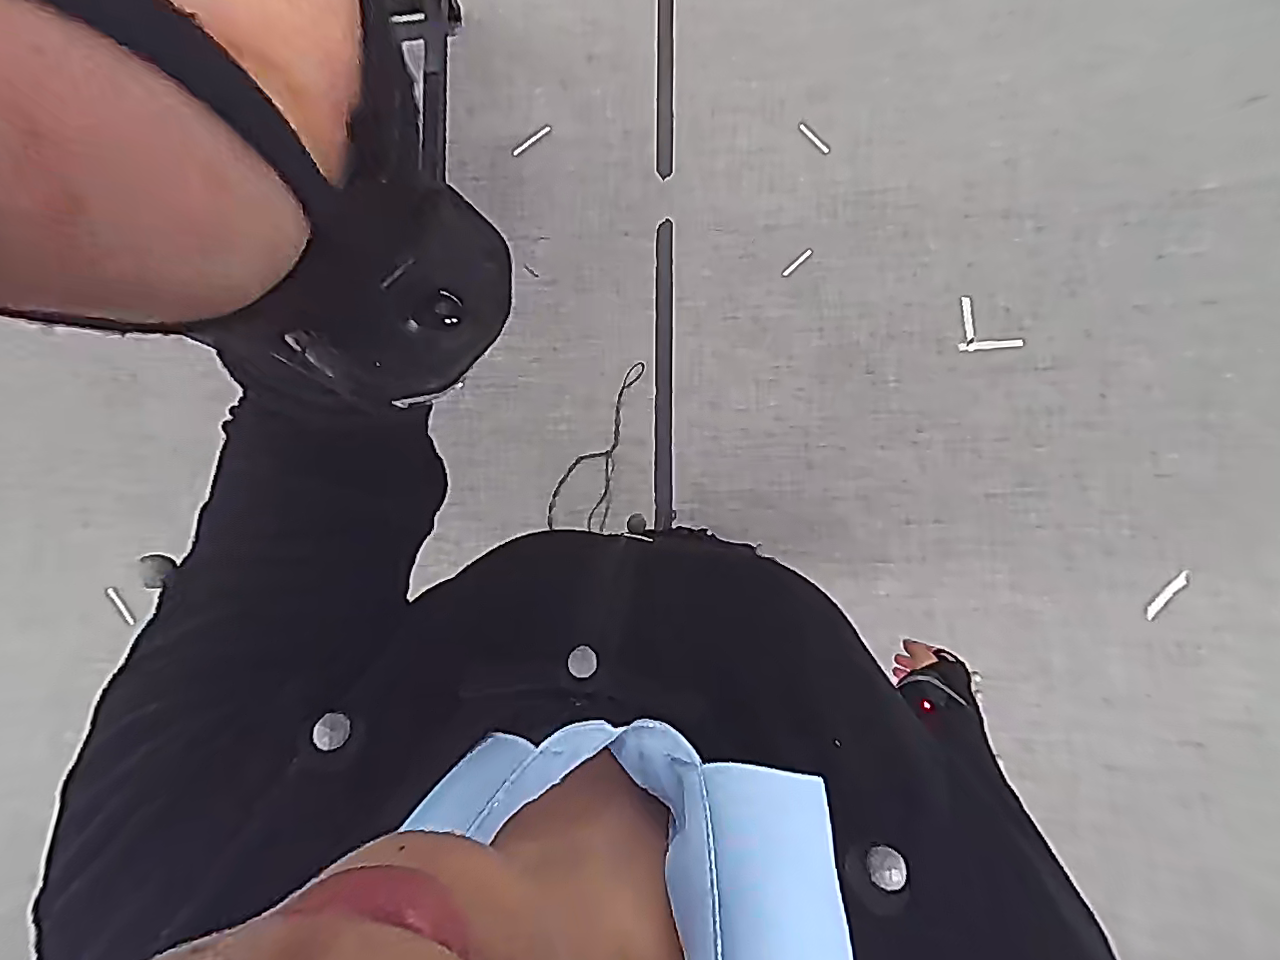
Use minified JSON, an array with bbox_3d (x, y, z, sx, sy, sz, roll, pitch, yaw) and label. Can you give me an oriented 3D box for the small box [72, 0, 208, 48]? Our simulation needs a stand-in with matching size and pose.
[{"bbox_3d":[-0.836,-0.849,0.869,0.168,0.176,0.179,0,83,5],"label":"small box"}]
